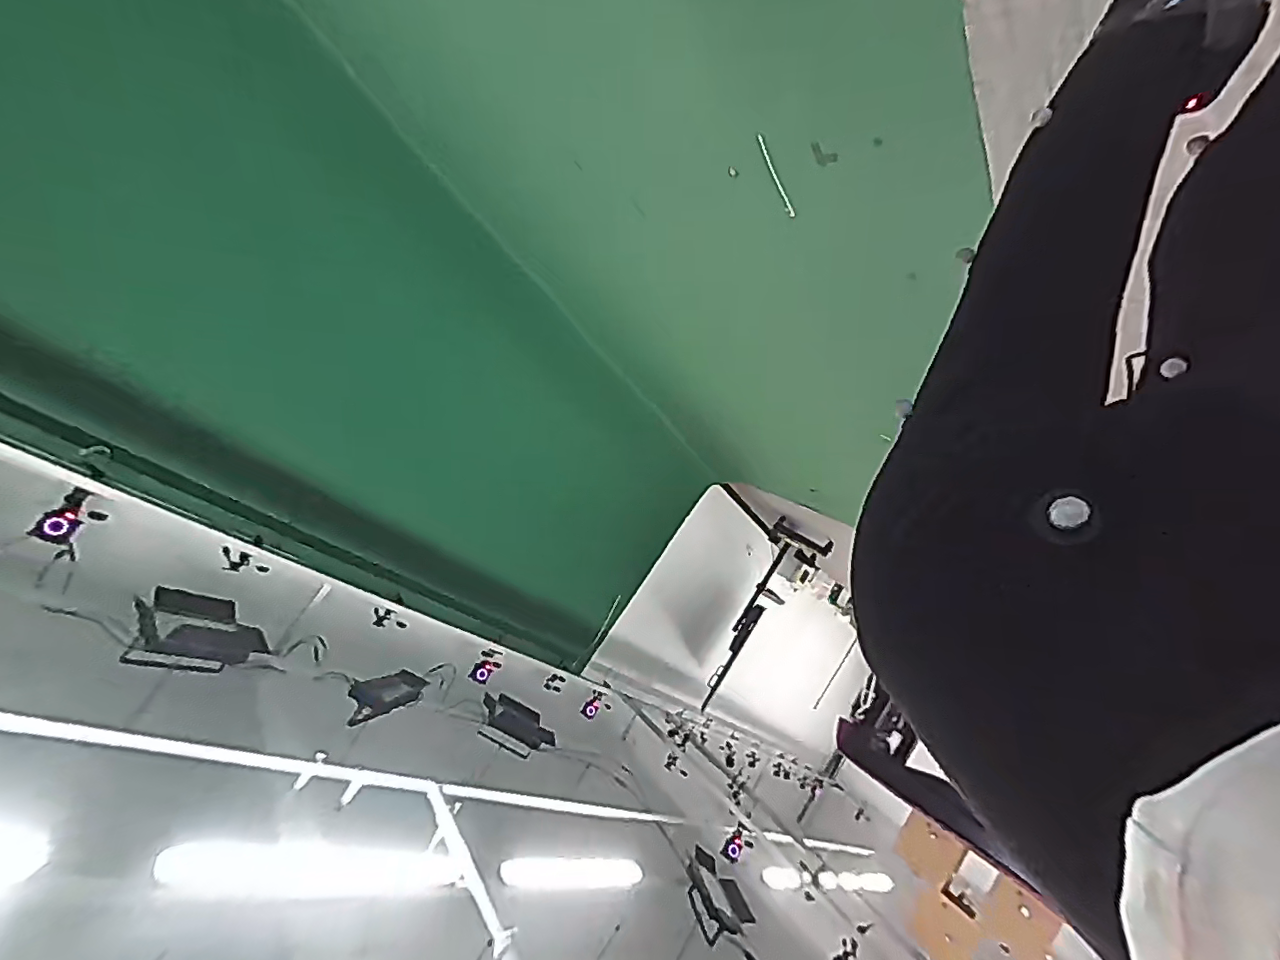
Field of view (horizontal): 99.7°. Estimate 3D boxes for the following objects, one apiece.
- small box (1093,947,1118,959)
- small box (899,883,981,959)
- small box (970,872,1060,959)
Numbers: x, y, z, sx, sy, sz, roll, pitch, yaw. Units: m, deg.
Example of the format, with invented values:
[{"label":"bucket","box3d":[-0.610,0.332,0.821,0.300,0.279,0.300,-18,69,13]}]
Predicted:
[{"label":"small box","box3d":[1.264,1.373,1.410,0.168,0.176,0.179,25,169,48]},{"label":"small box","box3d":[0.937,1.391,1.674,0.168,0.176,0.179,26,169,46]},{"label":"small box","box3d":[1.112,1.300,1.598,0.168,0.176,0.179,25,168,47]}]
